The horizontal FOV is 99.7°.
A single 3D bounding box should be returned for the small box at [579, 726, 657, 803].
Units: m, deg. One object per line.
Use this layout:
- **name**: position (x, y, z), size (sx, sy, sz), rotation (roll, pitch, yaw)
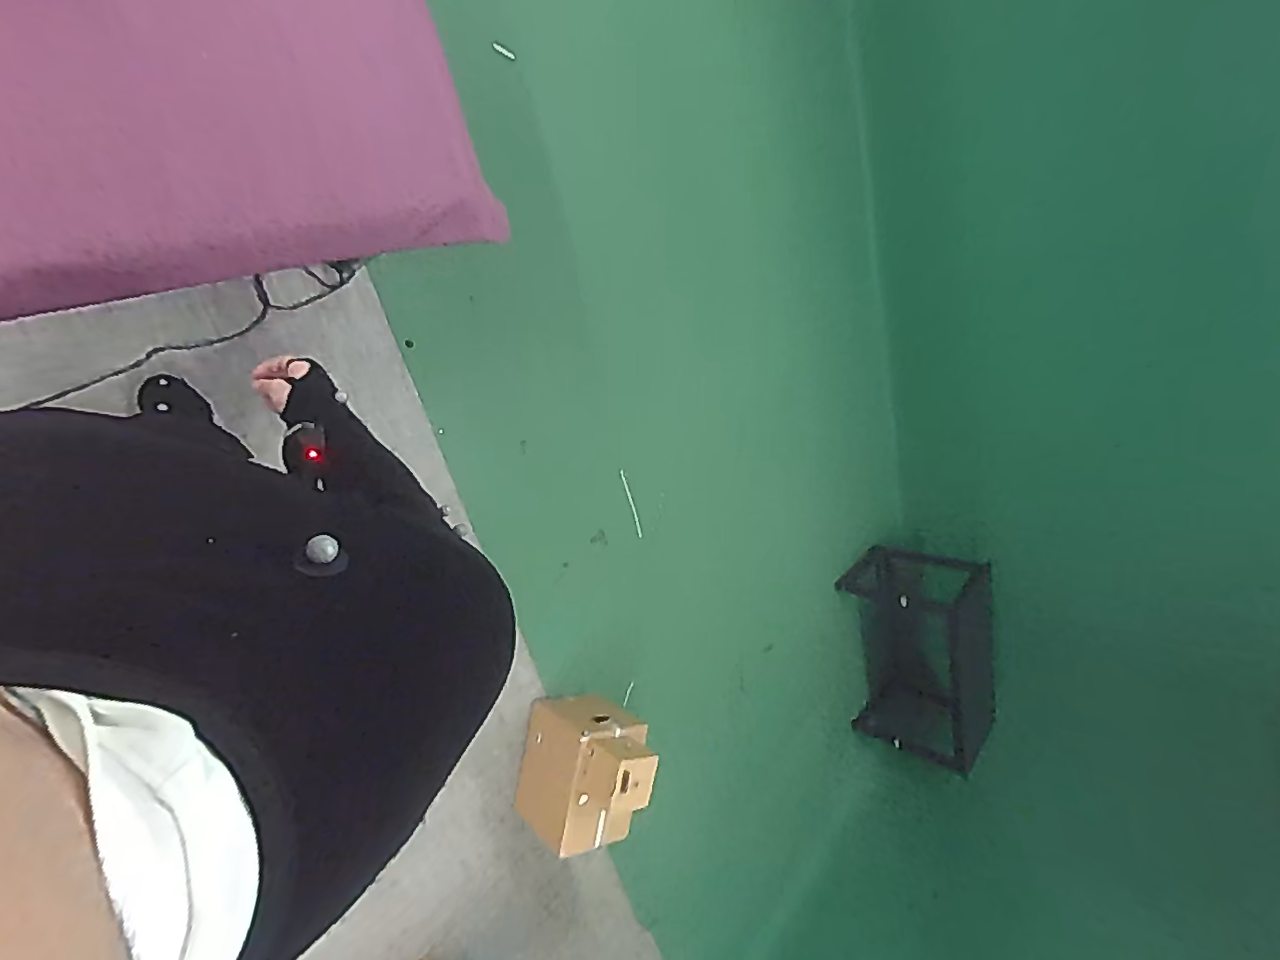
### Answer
- **small box**: position (-0.077, 0.933, 1.788), size (0.179, 0.176, 0.168), rotation (19, 83, -43)
